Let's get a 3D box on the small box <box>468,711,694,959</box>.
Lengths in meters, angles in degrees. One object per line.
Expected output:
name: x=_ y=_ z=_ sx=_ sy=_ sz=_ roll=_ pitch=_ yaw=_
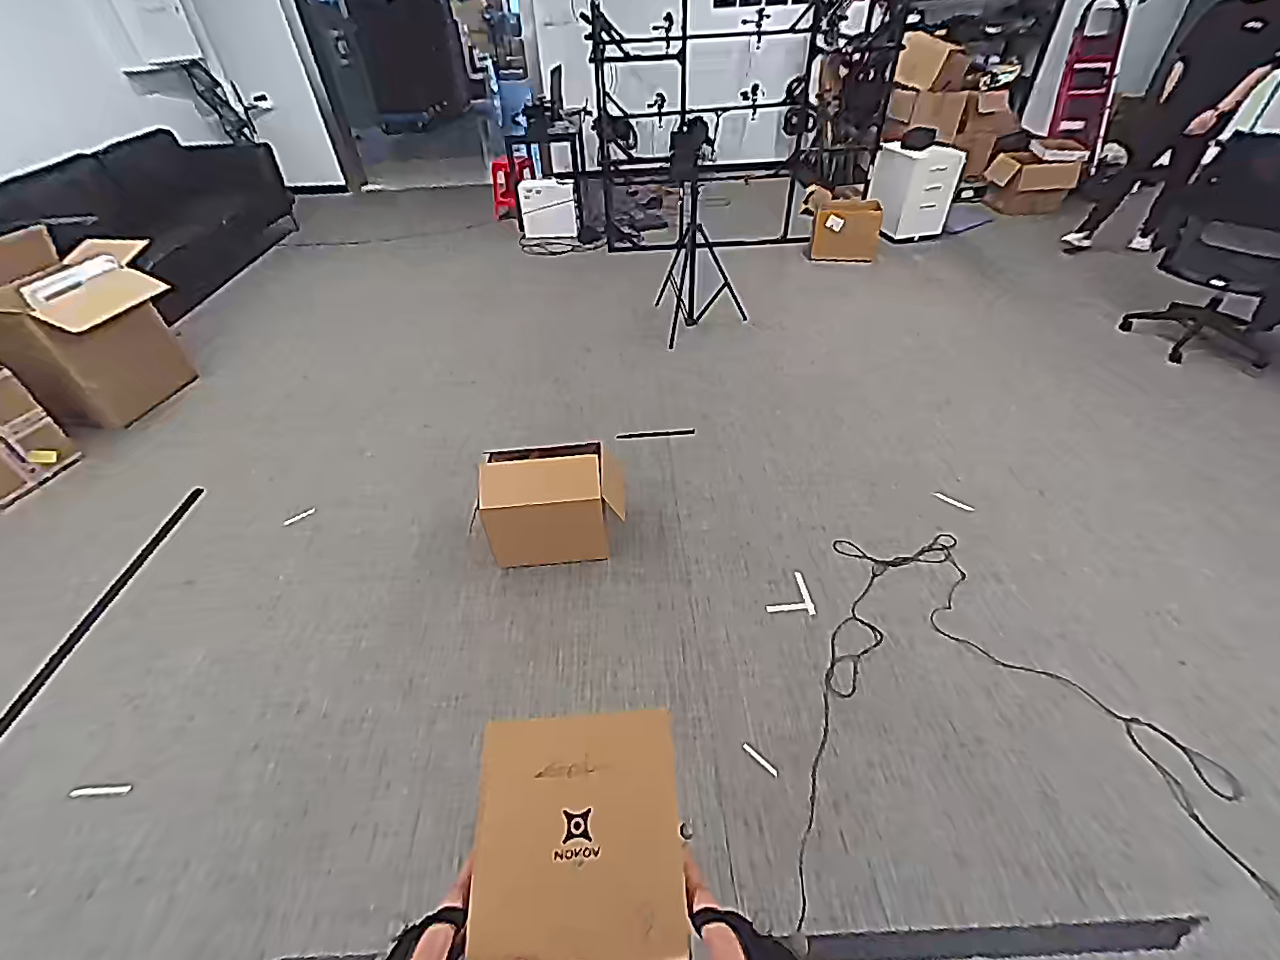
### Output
small box: x=-0.046 y=0.325 z=0.490 sx=0.168 sy=0.176 sz=0.179 roll=-4 pitch=54 yaw=-3
